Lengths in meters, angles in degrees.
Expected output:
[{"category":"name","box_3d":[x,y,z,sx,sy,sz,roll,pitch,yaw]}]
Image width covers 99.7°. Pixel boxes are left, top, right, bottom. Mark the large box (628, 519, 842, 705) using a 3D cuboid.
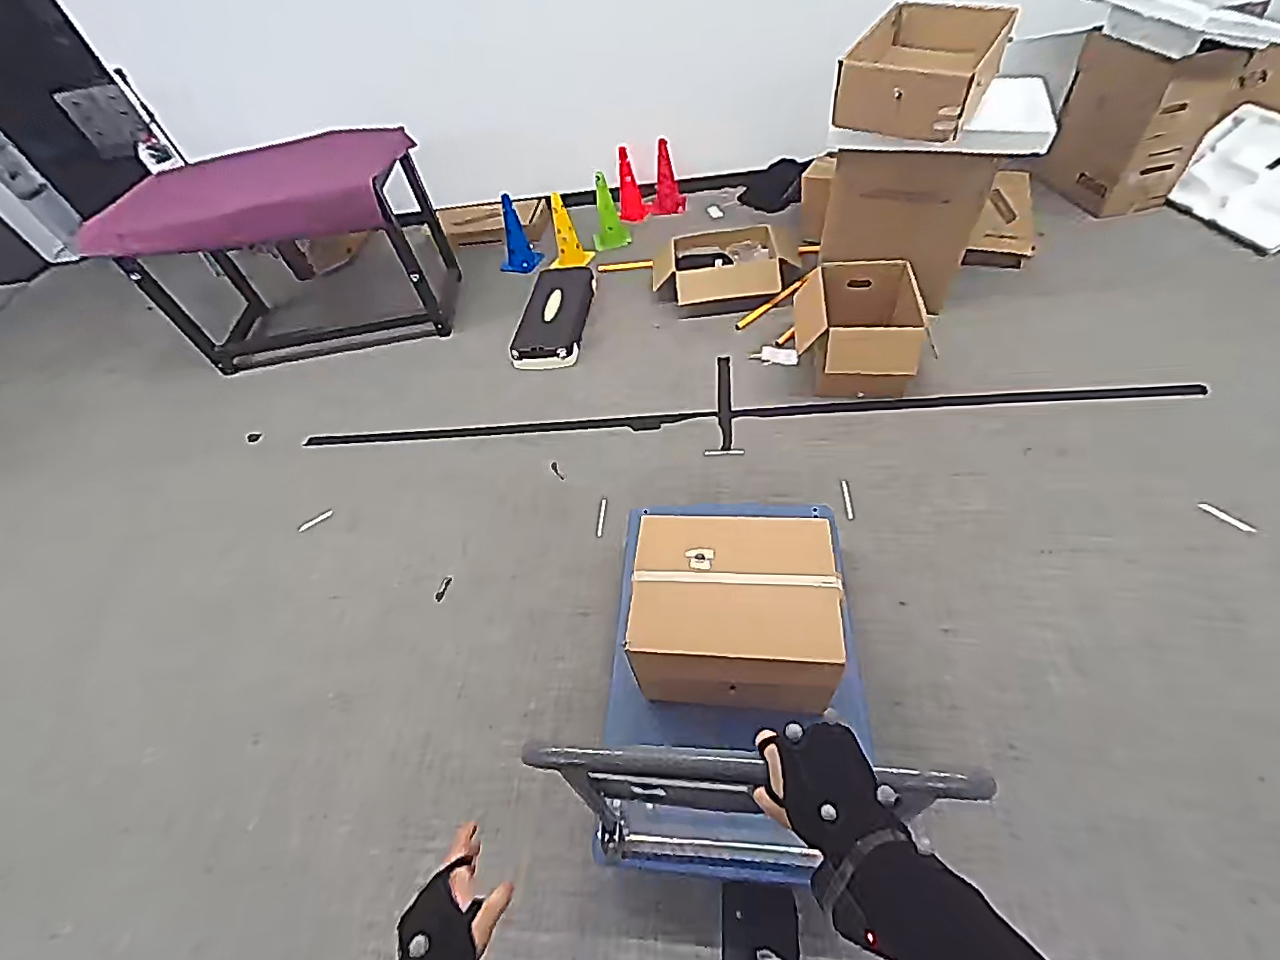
[{"category":"large box","box_3d":[0.208,0.300,1.216,0.408,0.320,0.320,-1,51,10]}]
